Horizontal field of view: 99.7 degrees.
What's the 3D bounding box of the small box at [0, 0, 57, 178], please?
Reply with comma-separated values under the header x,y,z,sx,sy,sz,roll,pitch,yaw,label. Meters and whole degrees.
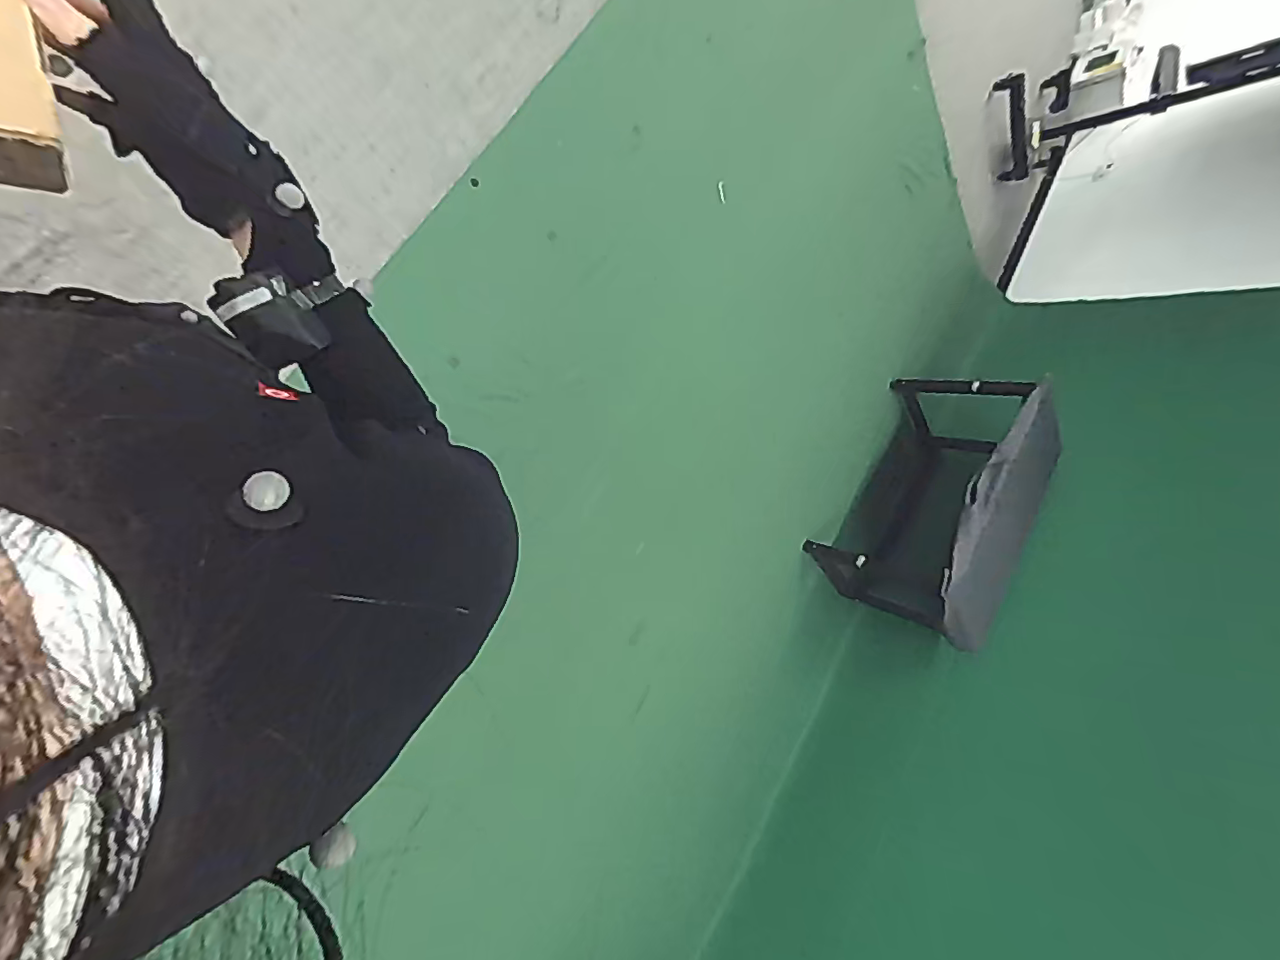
x,y,z,sx,sy,sz,roll,pitch,yaw,label
-0.421,-0.262,0.257,0.179,0.176,0.168,-13,111,-44,small box
